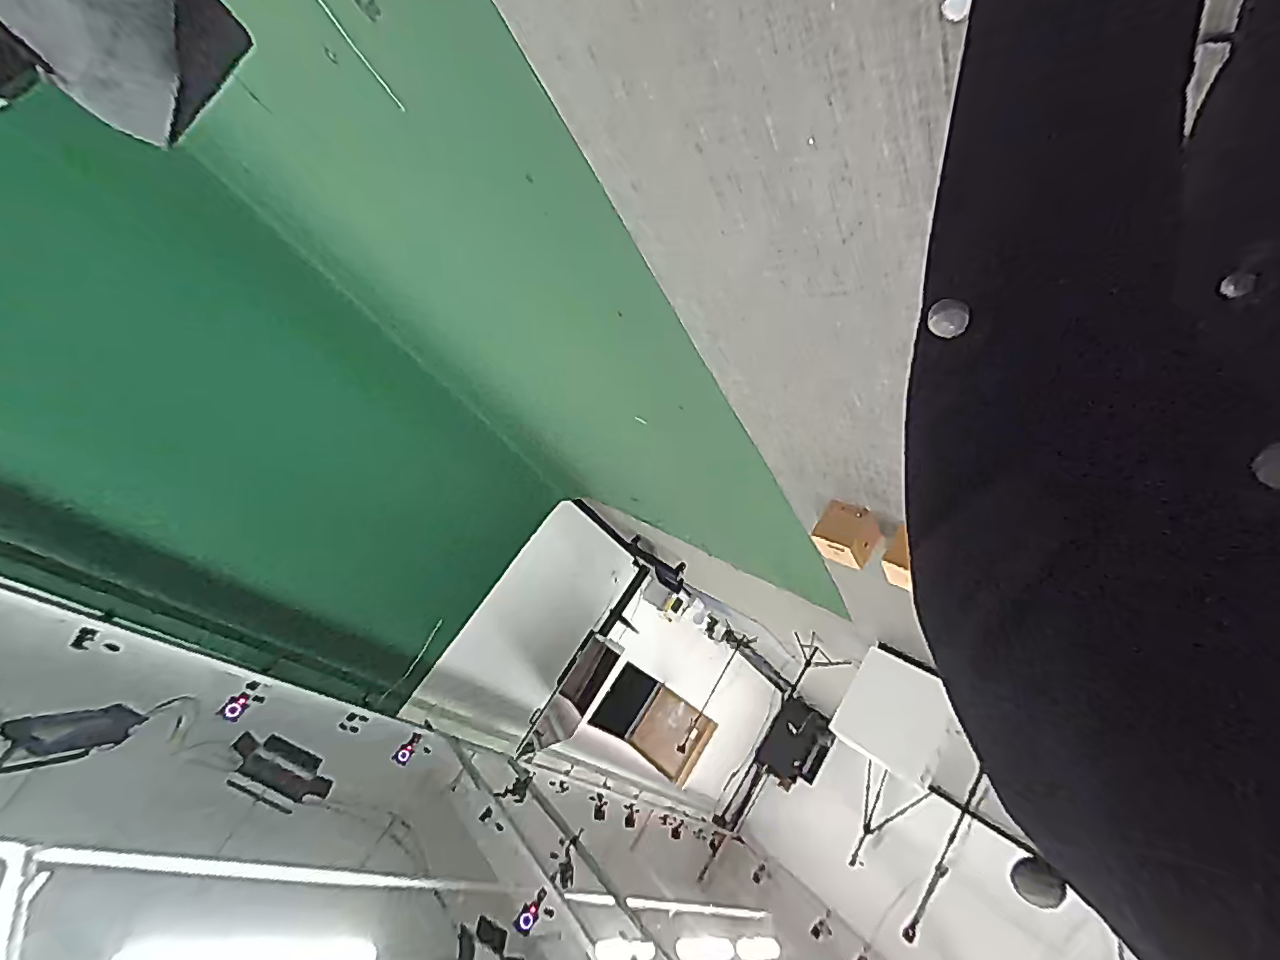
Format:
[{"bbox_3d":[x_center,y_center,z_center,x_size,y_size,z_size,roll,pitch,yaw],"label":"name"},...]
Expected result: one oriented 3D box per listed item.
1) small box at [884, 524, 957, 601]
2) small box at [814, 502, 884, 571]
[{"bbox_3d":[0.972,0.281,1.863,0.168,0.176,0.179,23,160,44],"label":"small box"},{"bbox_3d":[0.797,0.210,2.055,0.168,0.176,0.179,22,160,47],"label":"small box"}]
